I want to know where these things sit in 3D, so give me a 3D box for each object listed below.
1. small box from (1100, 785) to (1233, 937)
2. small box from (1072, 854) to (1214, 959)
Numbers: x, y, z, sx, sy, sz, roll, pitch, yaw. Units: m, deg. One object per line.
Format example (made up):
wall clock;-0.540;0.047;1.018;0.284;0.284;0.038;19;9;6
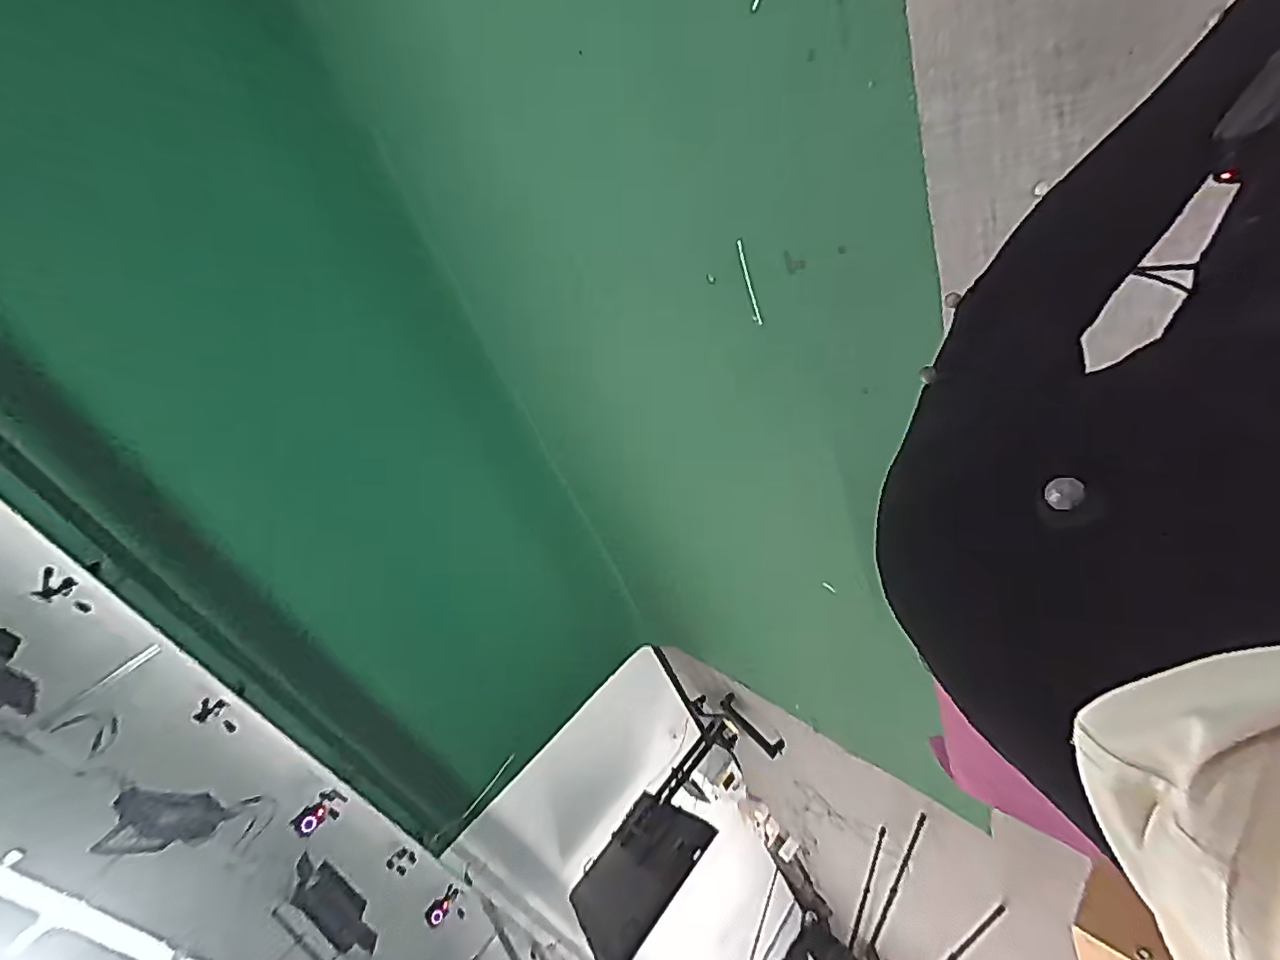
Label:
small box;1.058;0.767;1.088;0.168;0.176;0.179;9;133;52
small box;0.947;0.864;1.016;0.168;0.176;0.179;8;133;52
